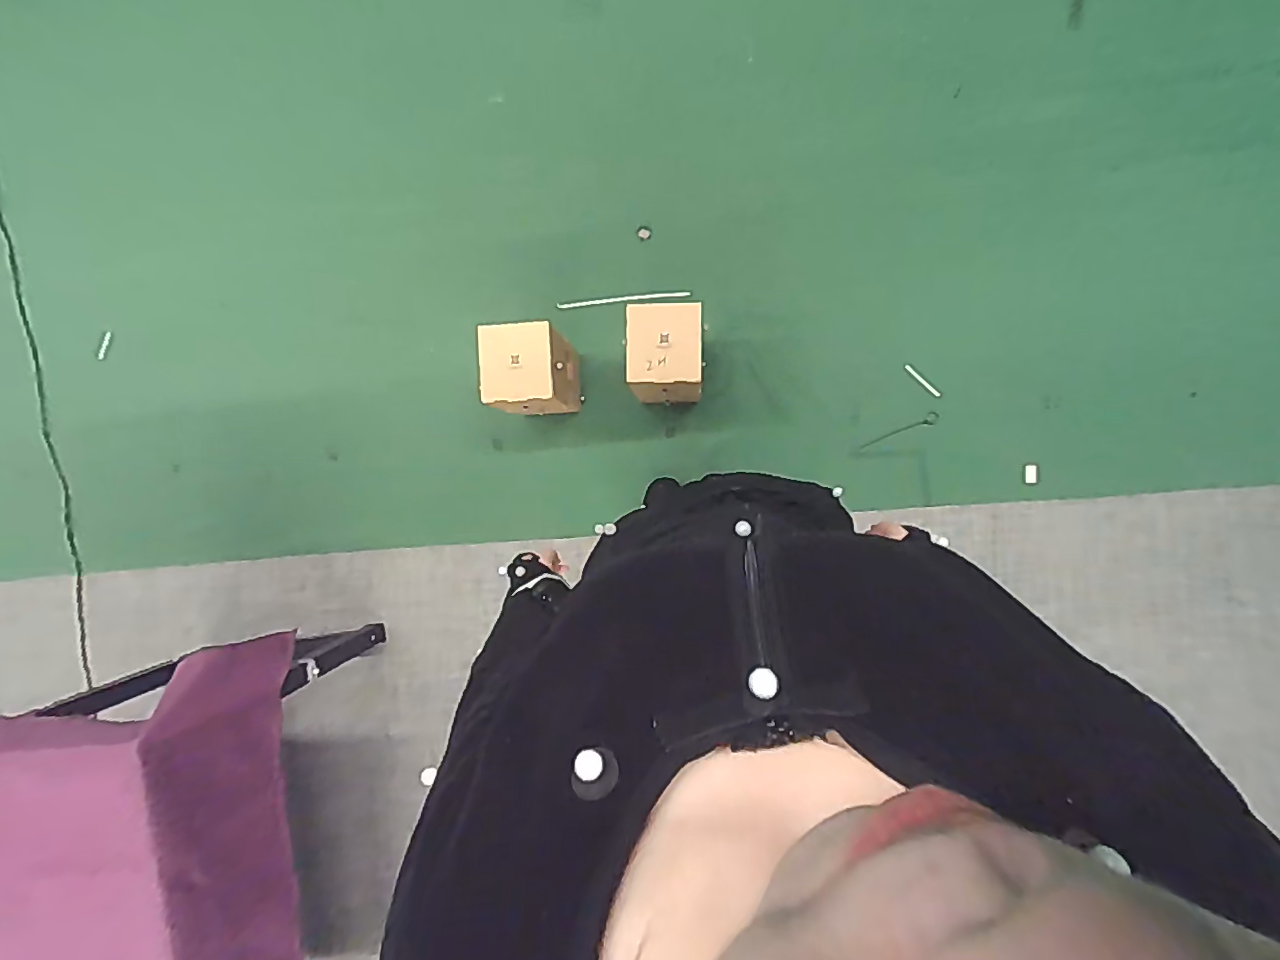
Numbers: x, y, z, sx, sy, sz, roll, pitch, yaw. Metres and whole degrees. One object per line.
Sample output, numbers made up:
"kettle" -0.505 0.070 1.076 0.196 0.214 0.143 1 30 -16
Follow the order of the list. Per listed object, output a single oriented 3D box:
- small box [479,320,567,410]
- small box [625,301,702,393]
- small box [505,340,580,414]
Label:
"small box" -0.273 -0.267 1.288 0.168 0.176 0.179 -3 91 5
"small box" 0.056 -0.304 1.258 0.168 0.176 0.179 1 91 5
"small box" -0.261 -0.272 1.450 0.179 0.176 0.168 -3 90 6
